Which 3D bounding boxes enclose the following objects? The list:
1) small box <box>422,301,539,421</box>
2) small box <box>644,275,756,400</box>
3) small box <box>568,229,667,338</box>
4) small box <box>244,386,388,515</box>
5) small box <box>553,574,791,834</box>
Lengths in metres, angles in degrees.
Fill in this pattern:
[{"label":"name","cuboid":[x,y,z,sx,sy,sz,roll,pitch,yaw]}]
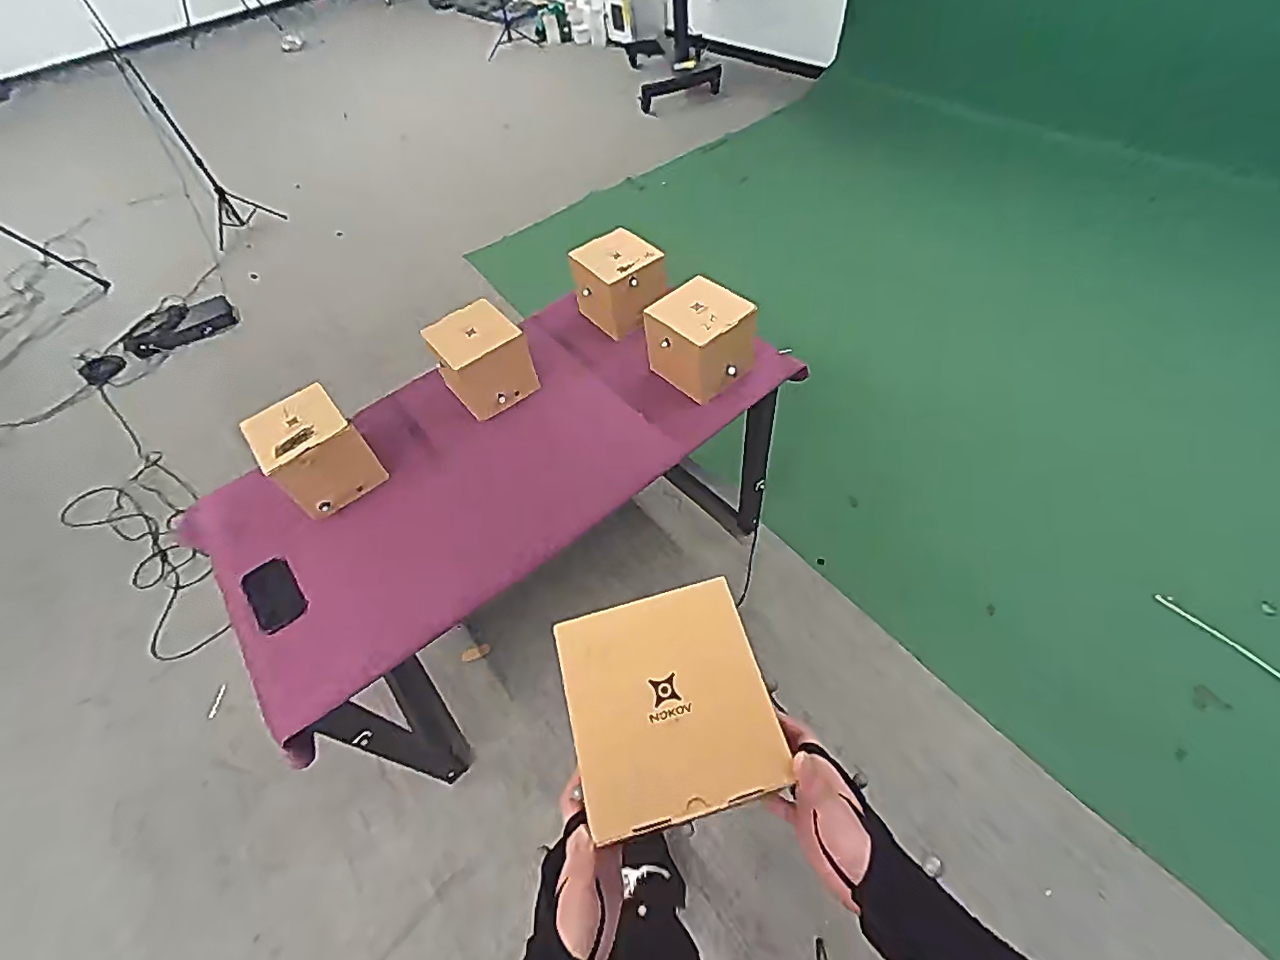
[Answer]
[{"label":"small box","cuboid":[-0.355,-0.266,1.222,0.168,0.176,0.179,-36,58,-17]},{"label":"small box","cuboid":[0.131,-0.307,1.179,0.168,0.176,0.179,-37,58,-17]},{"label":"small box","cuboid":[-0.050,-0.482,1.336,0.168,0.176,0.179,-35,57,-16]},{"label":"small box","cuboid":[-0.651,-0.052,1.102,0.168,0.176,0.179,-37,57,-18]},{"label":"small box","cuboid":[0.024,0.219,0.521,0.168,0.176,0.179,-15,59,-4]}]
